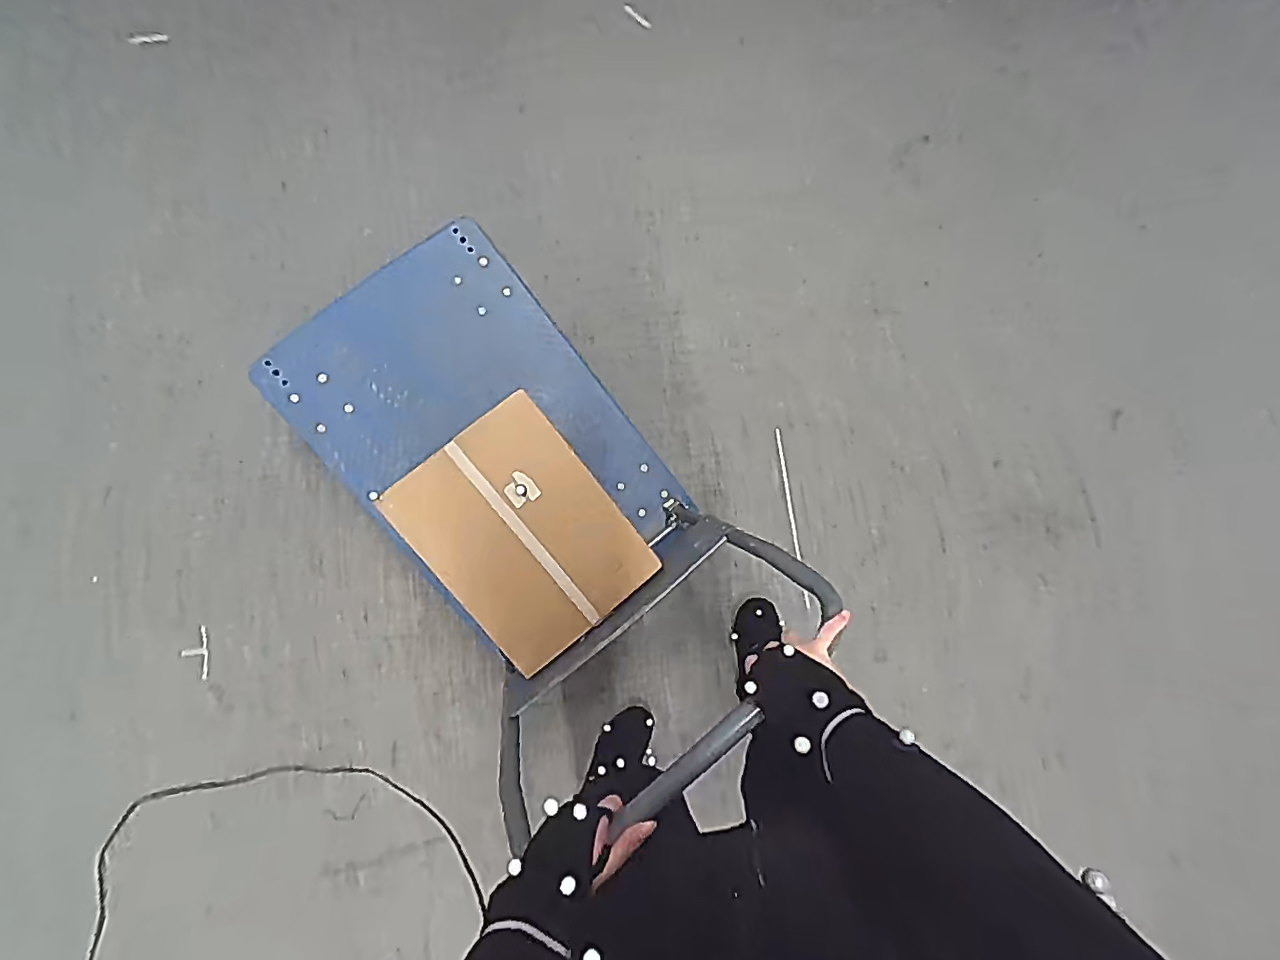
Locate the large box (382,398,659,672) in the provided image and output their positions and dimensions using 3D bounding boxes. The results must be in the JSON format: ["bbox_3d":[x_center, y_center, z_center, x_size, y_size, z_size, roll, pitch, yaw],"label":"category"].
[{"bbox_3d":[-0.222,0.097,1.102,0.320,0.320,0.408,-39,97,-7],"label":"large box"}]
